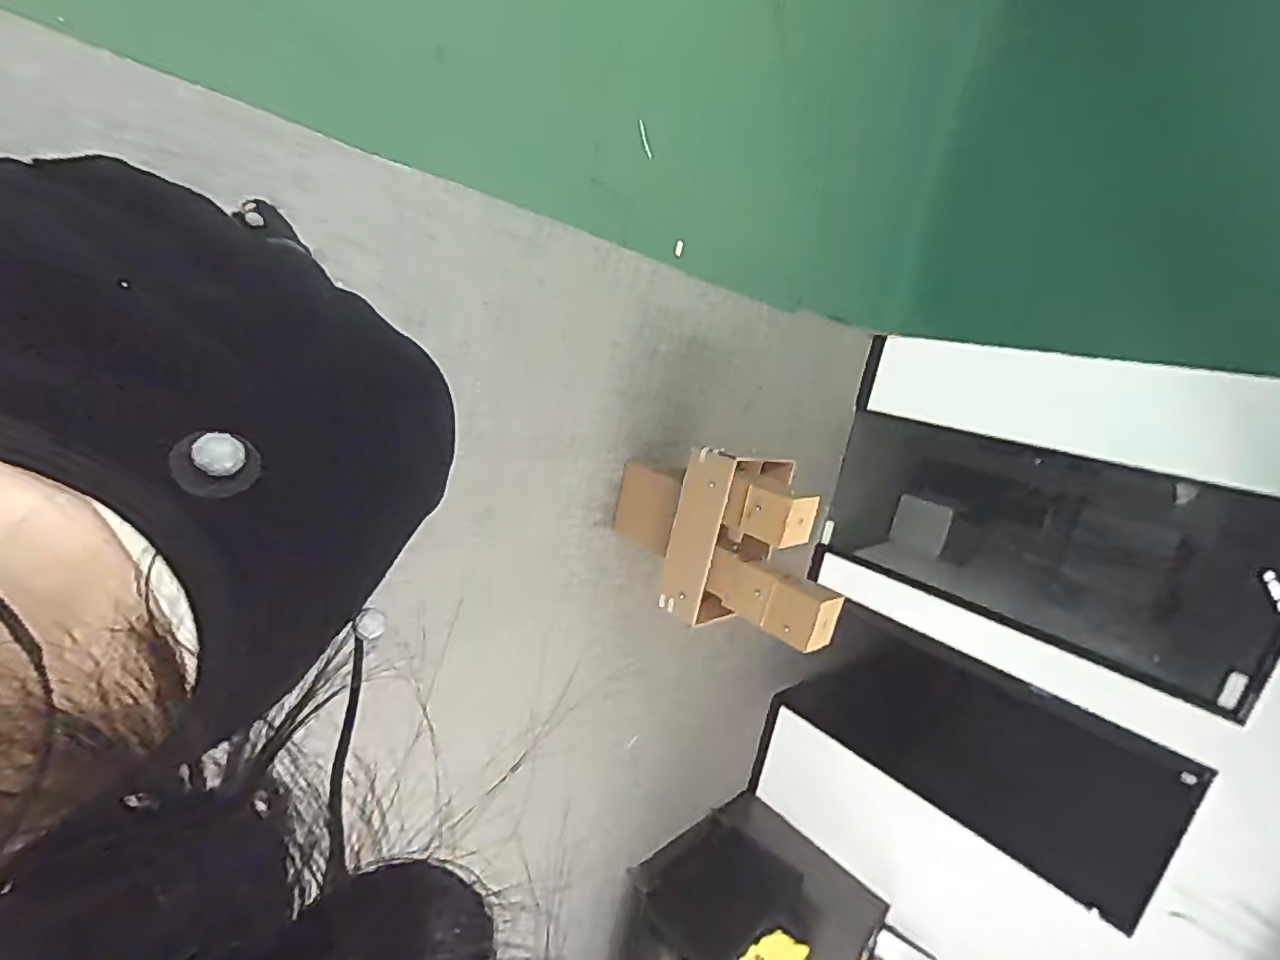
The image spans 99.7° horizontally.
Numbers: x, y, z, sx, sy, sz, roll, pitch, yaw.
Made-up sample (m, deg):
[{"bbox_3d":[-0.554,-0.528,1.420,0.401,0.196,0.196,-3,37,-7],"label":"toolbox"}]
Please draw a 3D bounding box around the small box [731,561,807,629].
[{"bbox_3d":[0.437,0.384,1.847,0.168,0.176,0.179,5,104,-45],"label":"small box"}]

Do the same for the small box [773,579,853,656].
[{"bbox_3d":[0.551,0.437,1.743,0.168,0.176,0.179,4,104,-45],"label":"small box"}]
